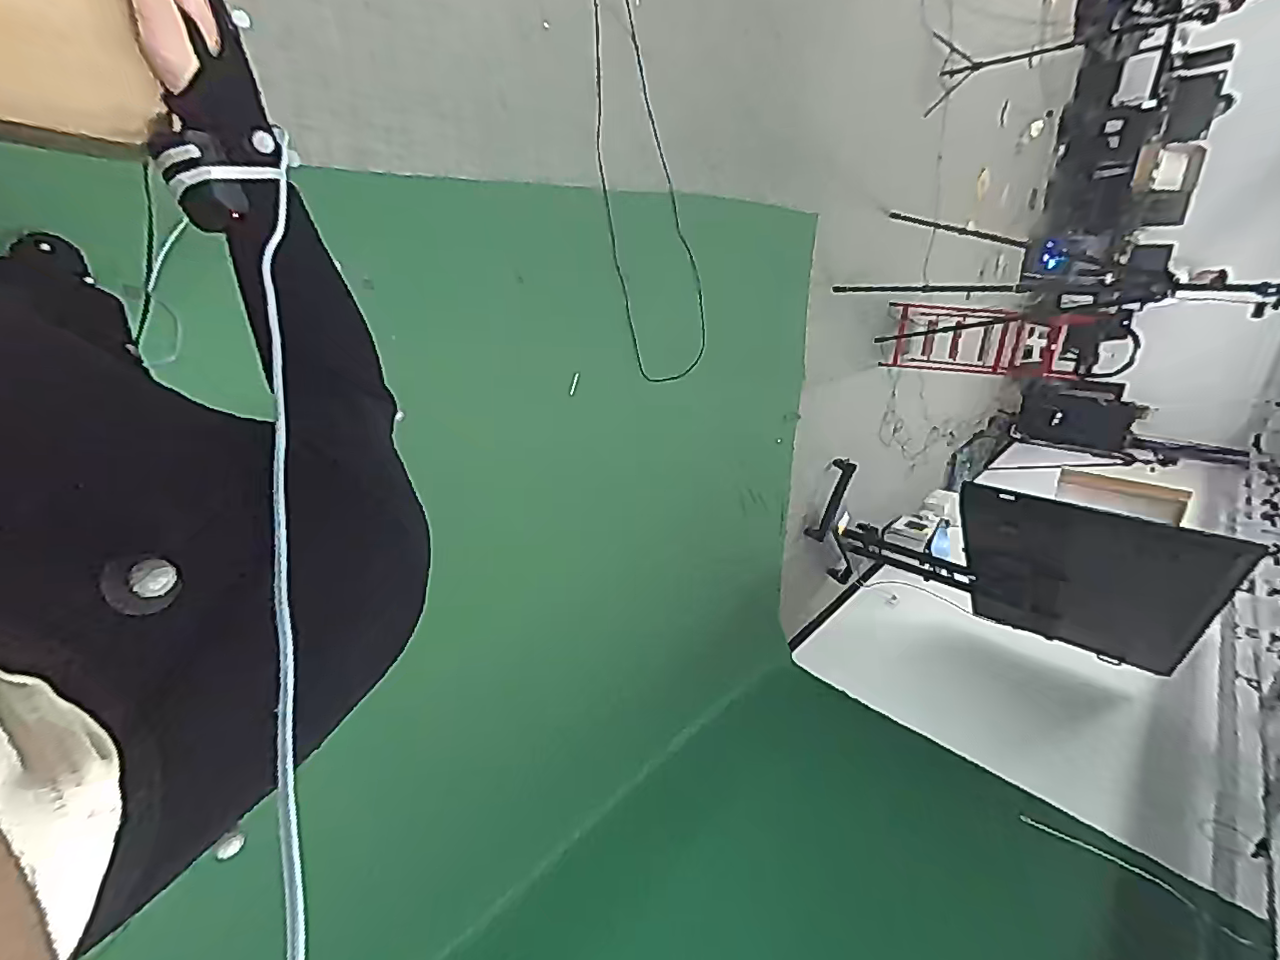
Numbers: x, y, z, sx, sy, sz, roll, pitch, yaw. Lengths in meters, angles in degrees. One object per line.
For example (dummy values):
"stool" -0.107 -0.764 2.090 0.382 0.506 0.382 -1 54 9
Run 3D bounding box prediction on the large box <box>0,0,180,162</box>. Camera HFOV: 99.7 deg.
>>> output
"large box" -0.605 -0.421 0.347 0.408 0.320 0.320 -15 121 -43
